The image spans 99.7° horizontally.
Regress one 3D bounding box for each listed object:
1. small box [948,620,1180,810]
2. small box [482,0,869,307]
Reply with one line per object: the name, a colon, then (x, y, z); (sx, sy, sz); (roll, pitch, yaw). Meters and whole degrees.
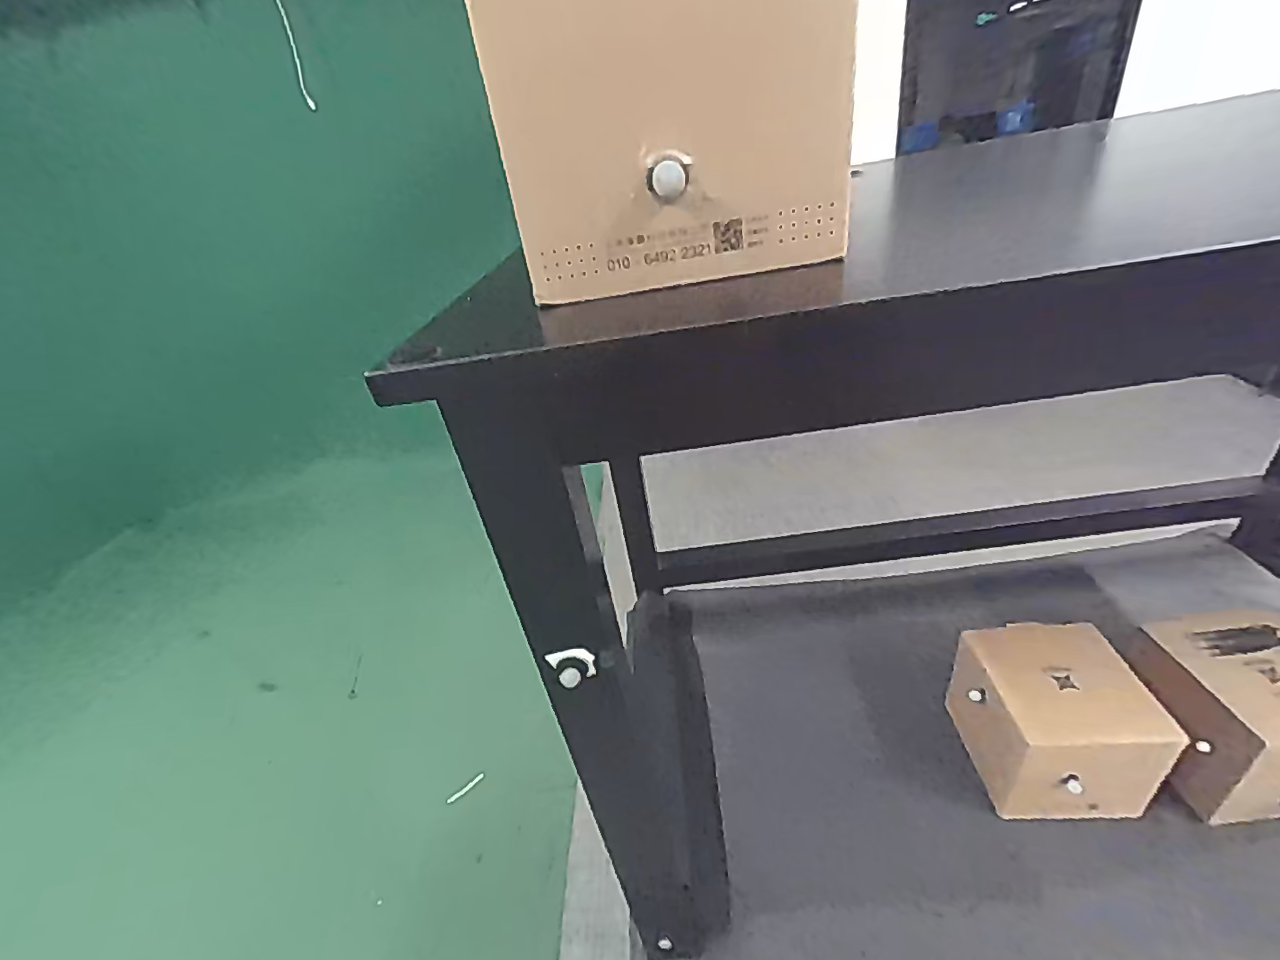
small box: (0.538, 0.314, 0.720); (0.168, 0.176, 0.179); (-6, 32, 8)
small box: (0.016, -0.211, 0.315); (0.168, 0.176, 0.179); (-8, 33, 3)
